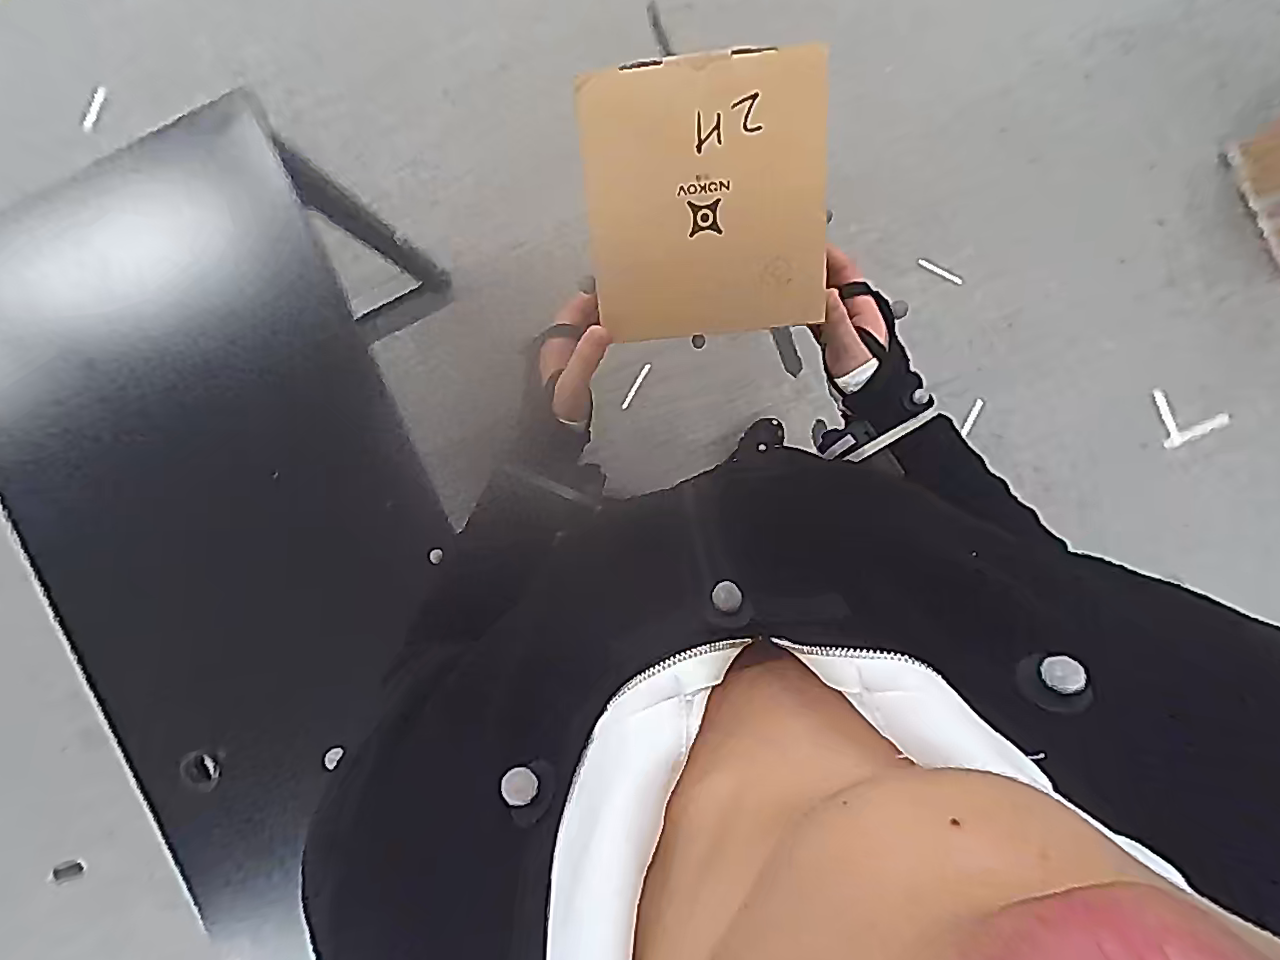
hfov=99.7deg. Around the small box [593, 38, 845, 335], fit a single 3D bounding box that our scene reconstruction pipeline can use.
[{"bbox_3d":[0.059,-0.220,0.451,0.168,0.176,0.179,-3,107,3],"label":"small box"}]
